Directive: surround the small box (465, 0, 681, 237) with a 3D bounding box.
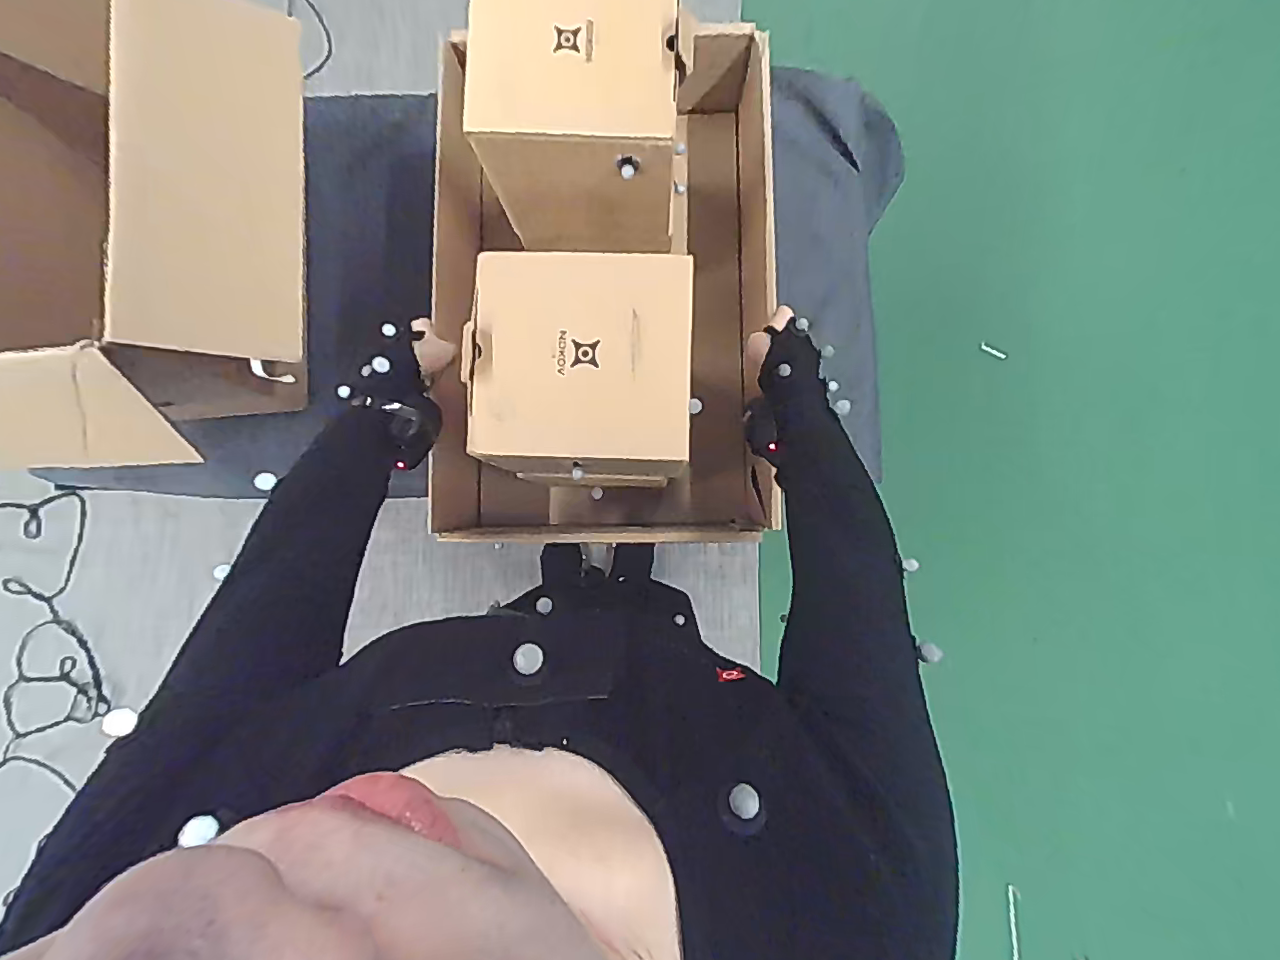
[{"bbox_3d":[-0.053,-0.357,0.527,0.179,0.176,0.168,2,88,0],"label":"small box"}]
